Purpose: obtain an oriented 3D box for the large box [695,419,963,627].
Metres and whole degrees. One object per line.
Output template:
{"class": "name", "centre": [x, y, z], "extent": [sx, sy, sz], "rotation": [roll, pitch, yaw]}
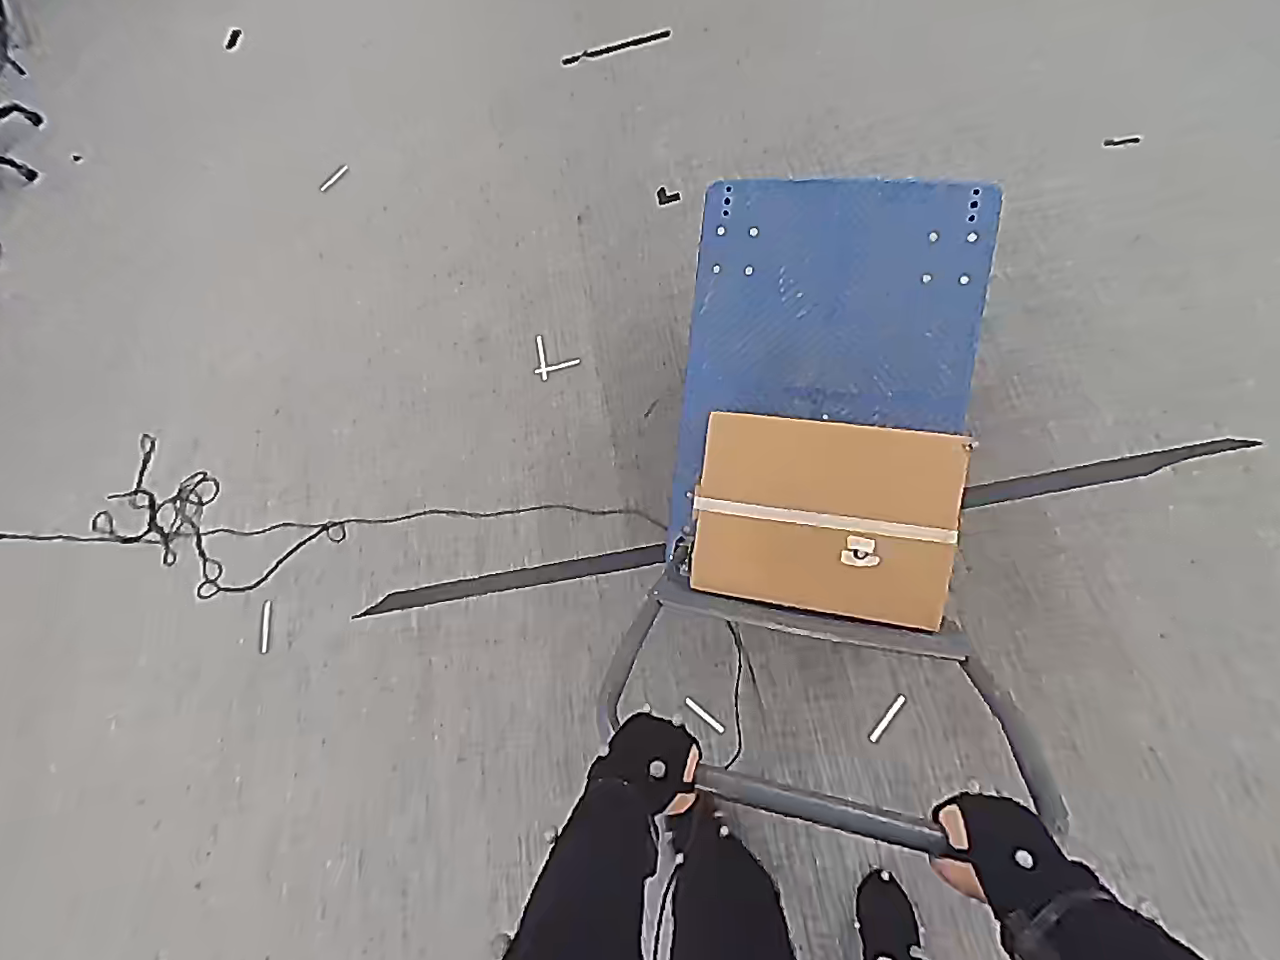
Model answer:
{"class": "large box", "centre": [0.332, 0.056, 1.046], "extent": [0.408, 0.320, 0.320], "rotation": [7, 97, 12]}
